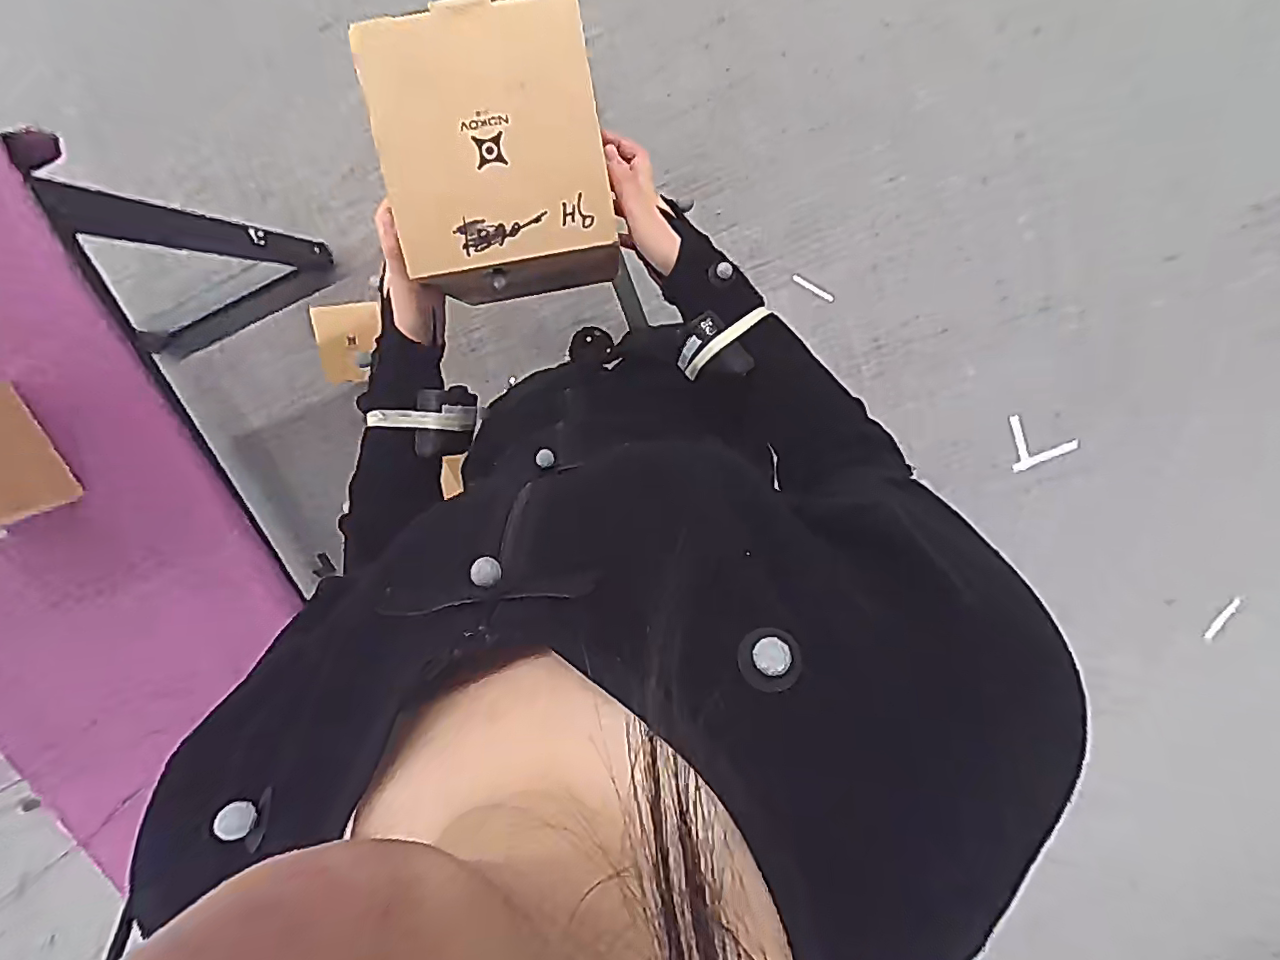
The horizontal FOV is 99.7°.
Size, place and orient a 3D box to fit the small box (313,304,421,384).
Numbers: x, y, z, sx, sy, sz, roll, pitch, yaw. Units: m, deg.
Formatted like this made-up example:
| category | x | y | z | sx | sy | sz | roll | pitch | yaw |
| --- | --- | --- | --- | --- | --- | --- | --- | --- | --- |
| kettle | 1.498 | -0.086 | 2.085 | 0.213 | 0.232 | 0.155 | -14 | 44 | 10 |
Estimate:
| category | x | y | z | sx | sy | sz | roll | pitch | yaw |
| --- | --- | --- | --- | --- | --- | --- | --- | --- | --- |
| small box | -0.671 | -0.340 | 1.347 | 0.168 | 0.176 | 0.179 | -5 | 107 | 2 |

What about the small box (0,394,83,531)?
| category | x | y | z | sx | sy | sz | roll | pitch | yaw |
| --- | --- | --- | --- | --- | --- | --- | --- | --- | --- |
| small box | -0.899 | -0.006 | 0.687 | 0.168 | 0.176 | 0.179 | -19 | 105 | 7 |

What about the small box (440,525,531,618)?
| category | x | y | z | sx | sy | sz | roll | pitch | yaw |
| --- | --- | --- | --- | --- | --- | --- | --- | --- | --- |
| small box | -0.421 | 0.250 | 1.513 | 0.168 | 0.176 | 0.179 | -20 | 104 | 5 |

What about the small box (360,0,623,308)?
| category | x | y | z | sx | sy | sz | roll | pitch | yaw |
| --- | --- | --- | --- | --- | --- | --- | --- | --- | --- |
| small box | -0.110 | -0.262 | 0.475 | 0.168 | 0.176 | 0.179 | -9 | 101 | 0 |

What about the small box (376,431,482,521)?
| category | x | y | z | sx | sy | sz | roll | pitch | yaw |
| --- | --- | --- | --- | --- | --- | --- | --- | --- | --- |
| small box | -0.551 | -0.016 | 1.436 | 0.179 | 0.176 | 0.168 | -22 | 105 | 6 |
